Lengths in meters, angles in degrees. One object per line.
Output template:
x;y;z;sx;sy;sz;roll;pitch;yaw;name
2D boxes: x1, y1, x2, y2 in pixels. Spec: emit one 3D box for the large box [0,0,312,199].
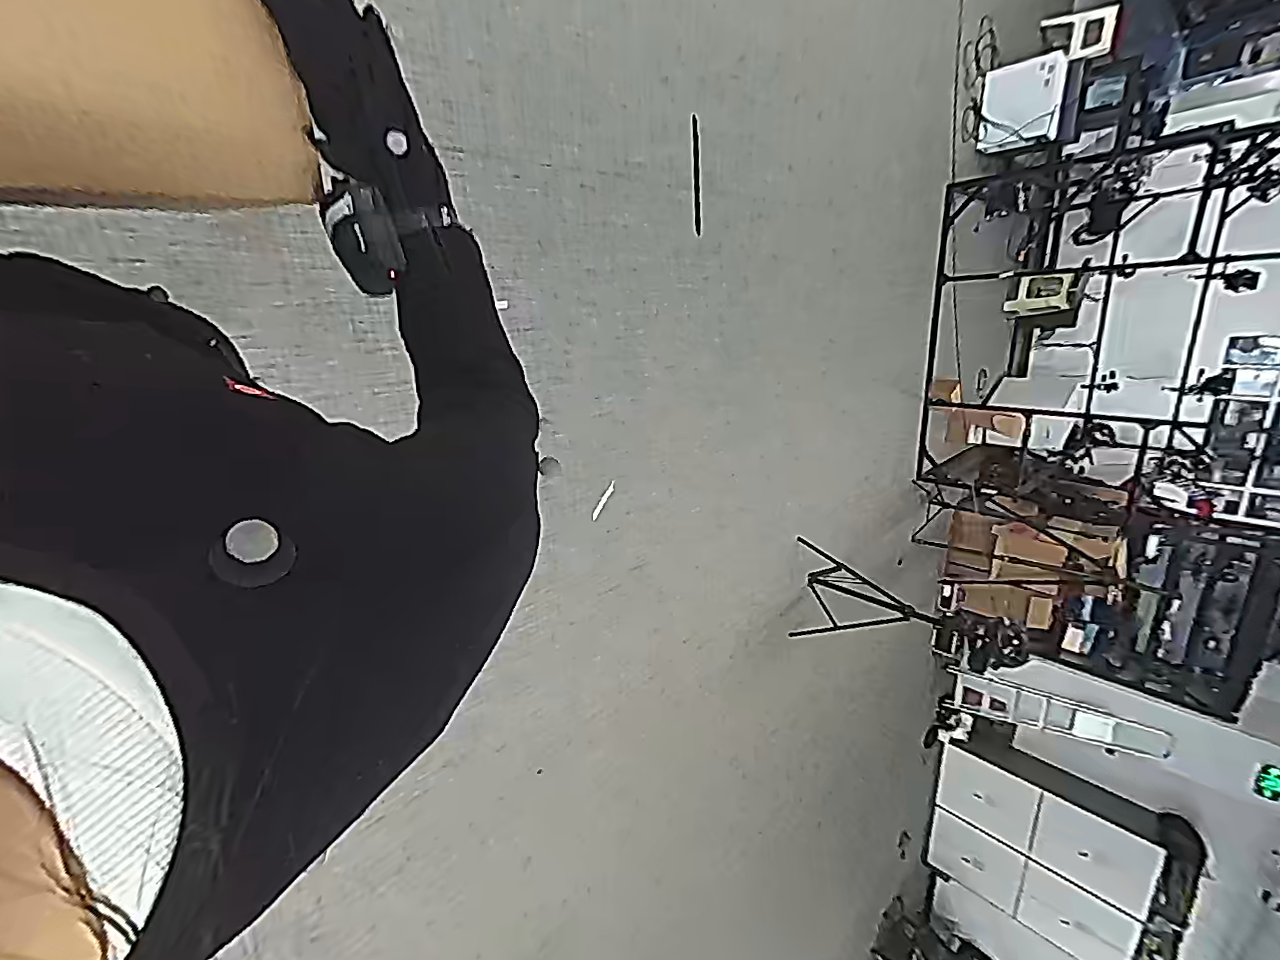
-0.473;-0.331;0.282;0.408;0.320;0.320;-22;124;-41;large box
